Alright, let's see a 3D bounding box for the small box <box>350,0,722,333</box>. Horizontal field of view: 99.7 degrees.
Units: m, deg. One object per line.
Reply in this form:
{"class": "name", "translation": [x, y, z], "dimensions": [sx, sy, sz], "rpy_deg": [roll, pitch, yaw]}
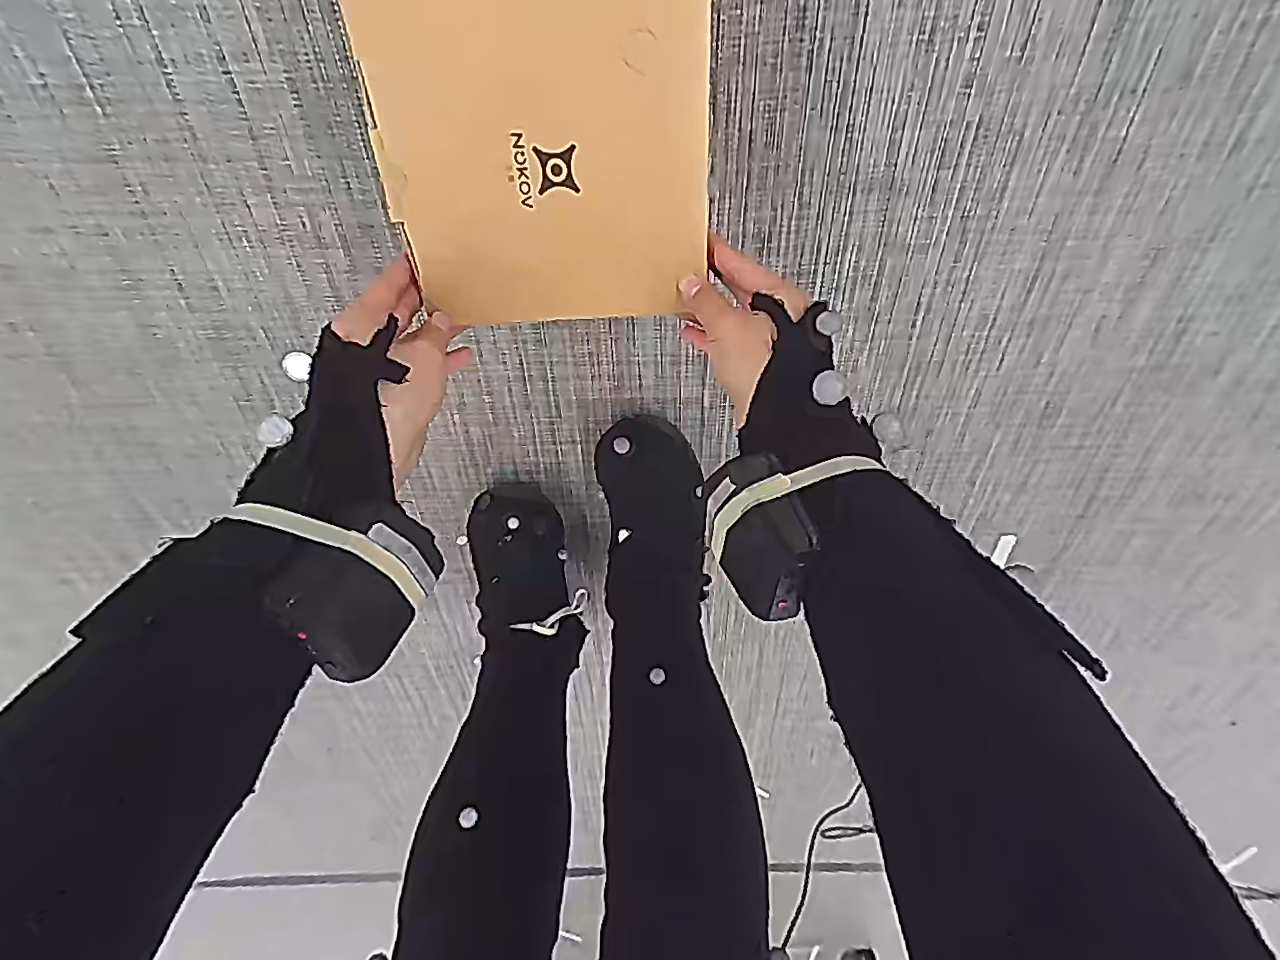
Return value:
{"class": "small box", "translation": [-0.048, -0.209, 0.359], "dimensions": [0.179, 0.176, 0.168], "rpy_deg": [-2, 126, 1]}
